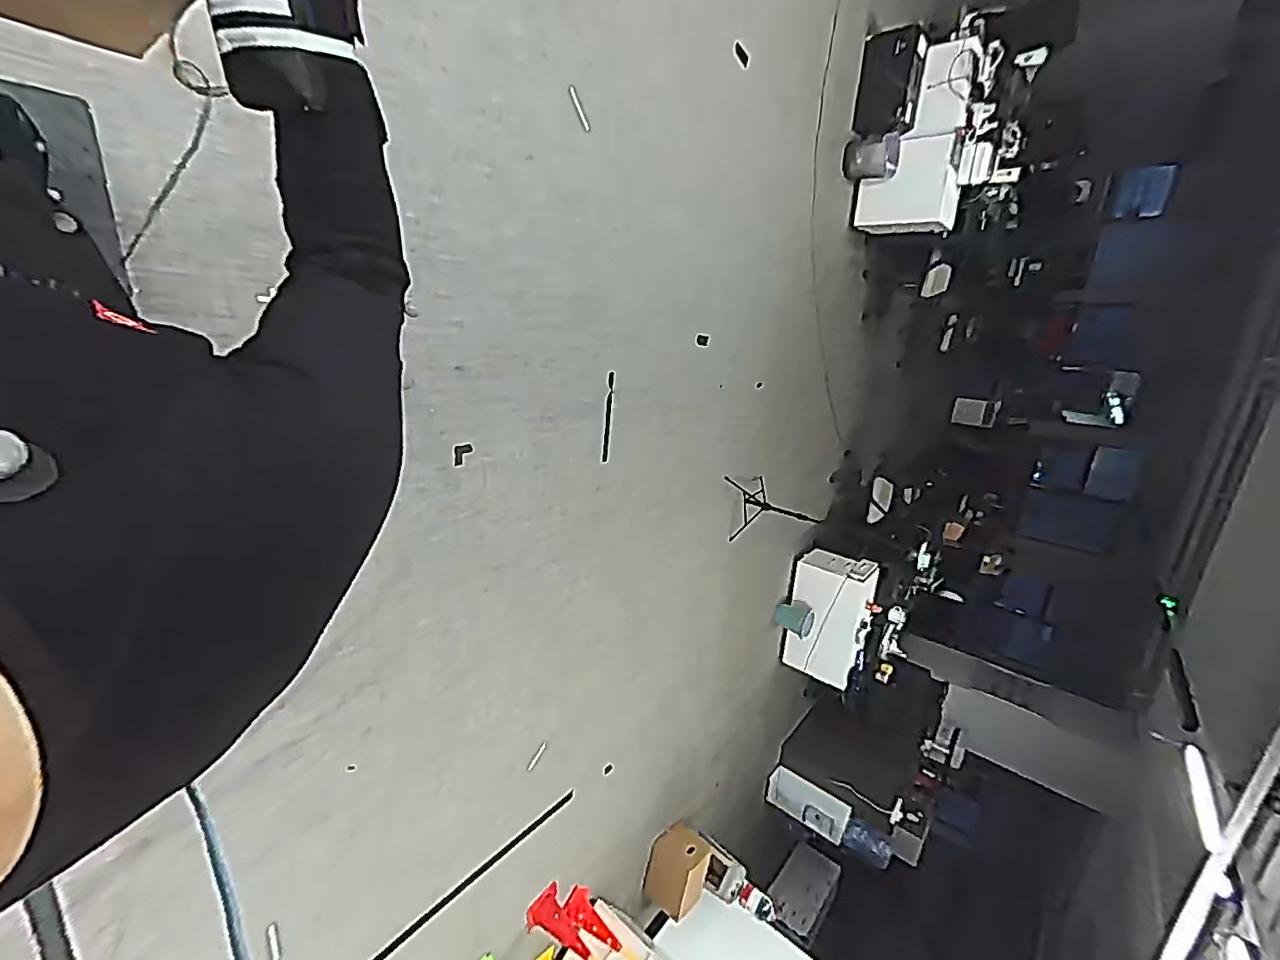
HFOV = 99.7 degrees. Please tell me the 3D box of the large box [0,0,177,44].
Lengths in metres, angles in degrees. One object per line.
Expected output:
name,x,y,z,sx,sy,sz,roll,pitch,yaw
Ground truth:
large box,-0.468,-0.466,0.220,0.408,0.320,0.320,-15,118,-48
